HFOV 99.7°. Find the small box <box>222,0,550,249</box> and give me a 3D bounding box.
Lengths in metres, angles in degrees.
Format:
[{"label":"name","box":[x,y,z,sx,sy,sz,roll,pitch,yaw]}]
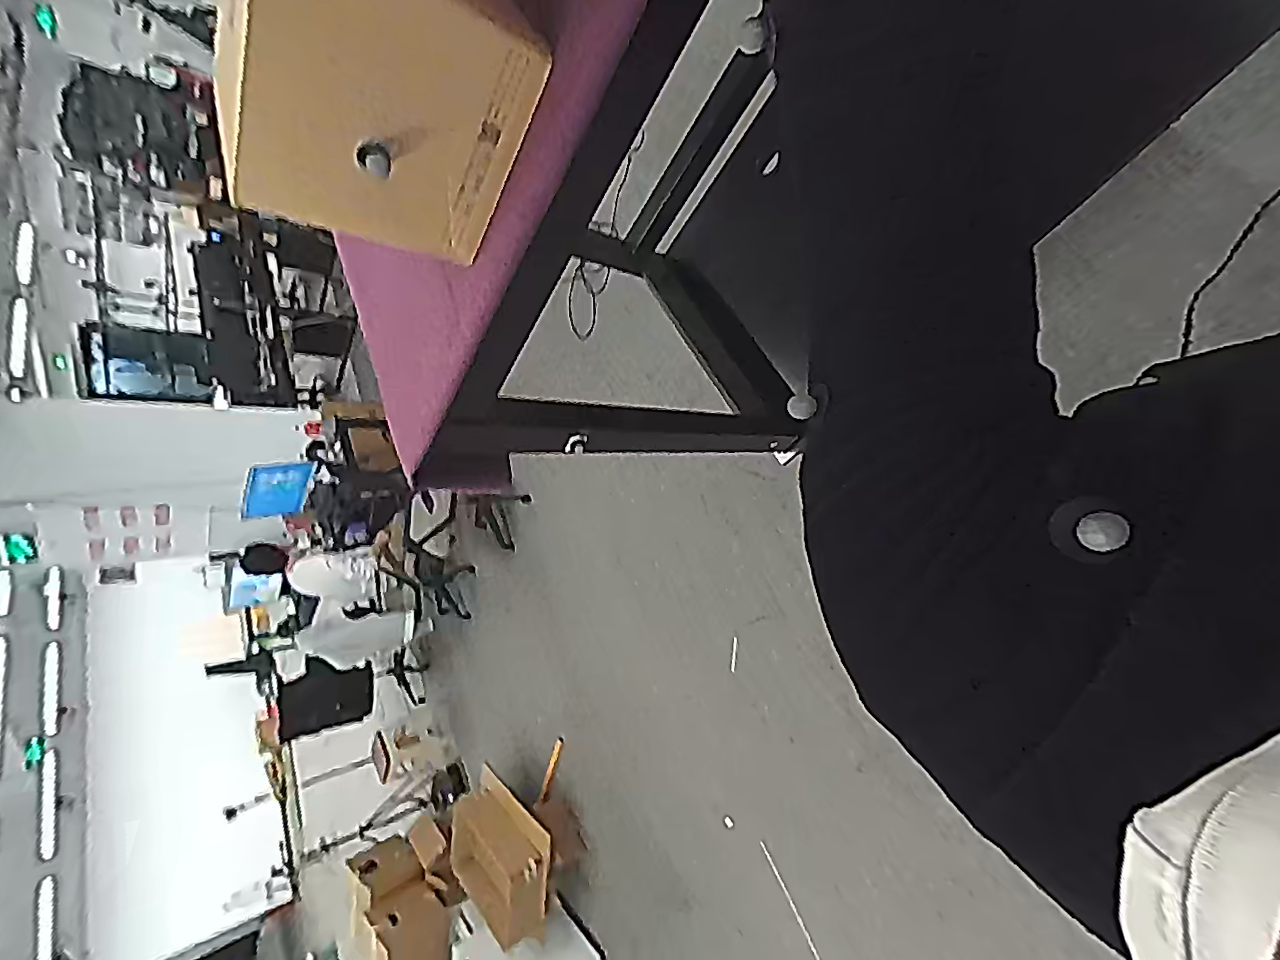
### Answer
[{"label":"small box","box":[-0.188,-0.294,0.392,0.168,0.176,0.179,-50,56,36]}]
